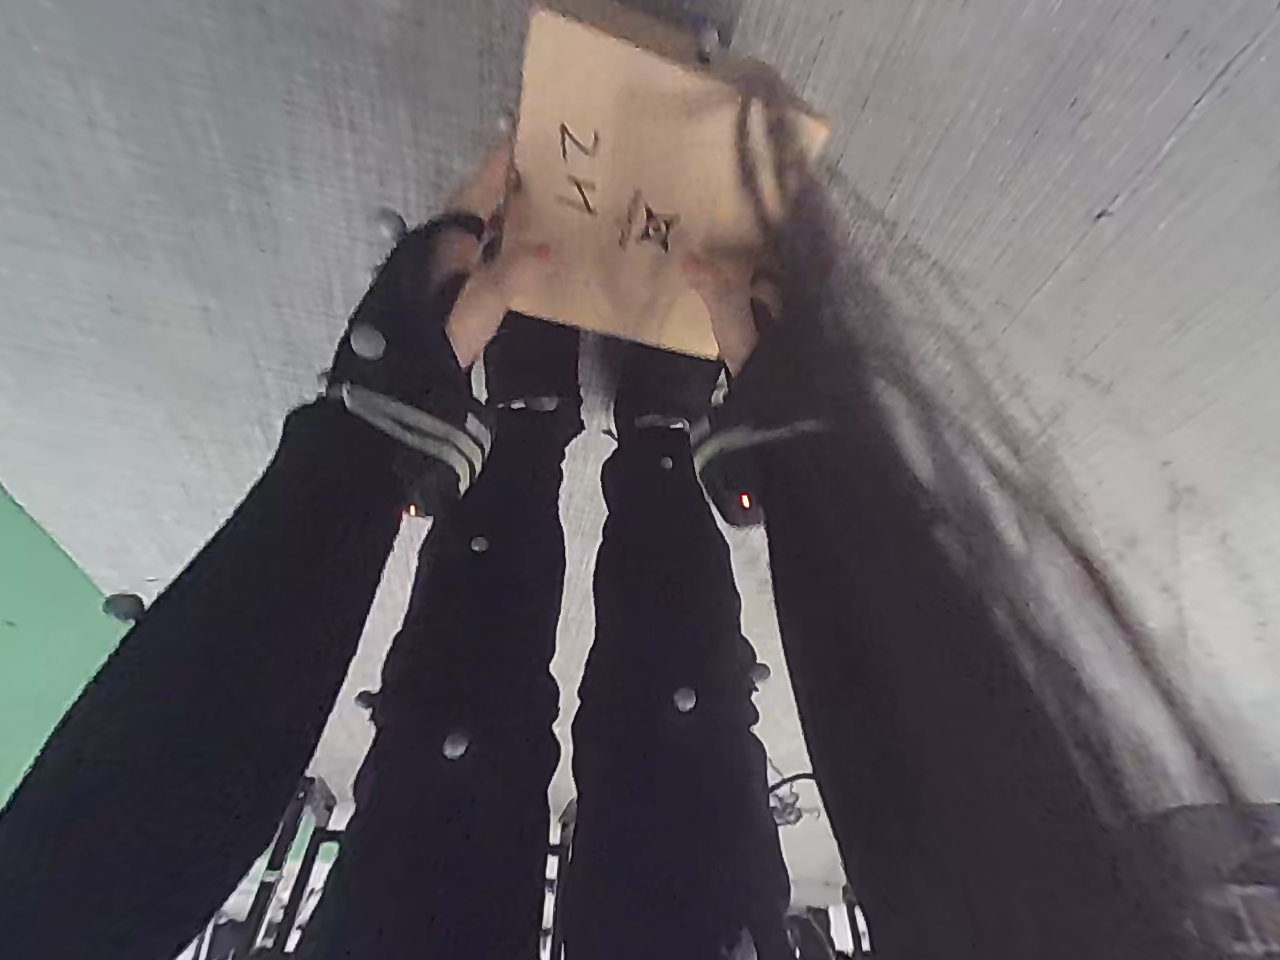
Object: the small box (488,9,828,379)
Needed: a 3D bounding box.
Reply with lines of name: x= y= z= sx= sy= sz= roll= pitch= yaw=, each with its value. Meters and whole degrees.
small box: x=-0.003 y=-0.204 z=0.394 sx=0.179 sy=0.176 sz=0.168 roll=10 pitch=134 yaw=-18
